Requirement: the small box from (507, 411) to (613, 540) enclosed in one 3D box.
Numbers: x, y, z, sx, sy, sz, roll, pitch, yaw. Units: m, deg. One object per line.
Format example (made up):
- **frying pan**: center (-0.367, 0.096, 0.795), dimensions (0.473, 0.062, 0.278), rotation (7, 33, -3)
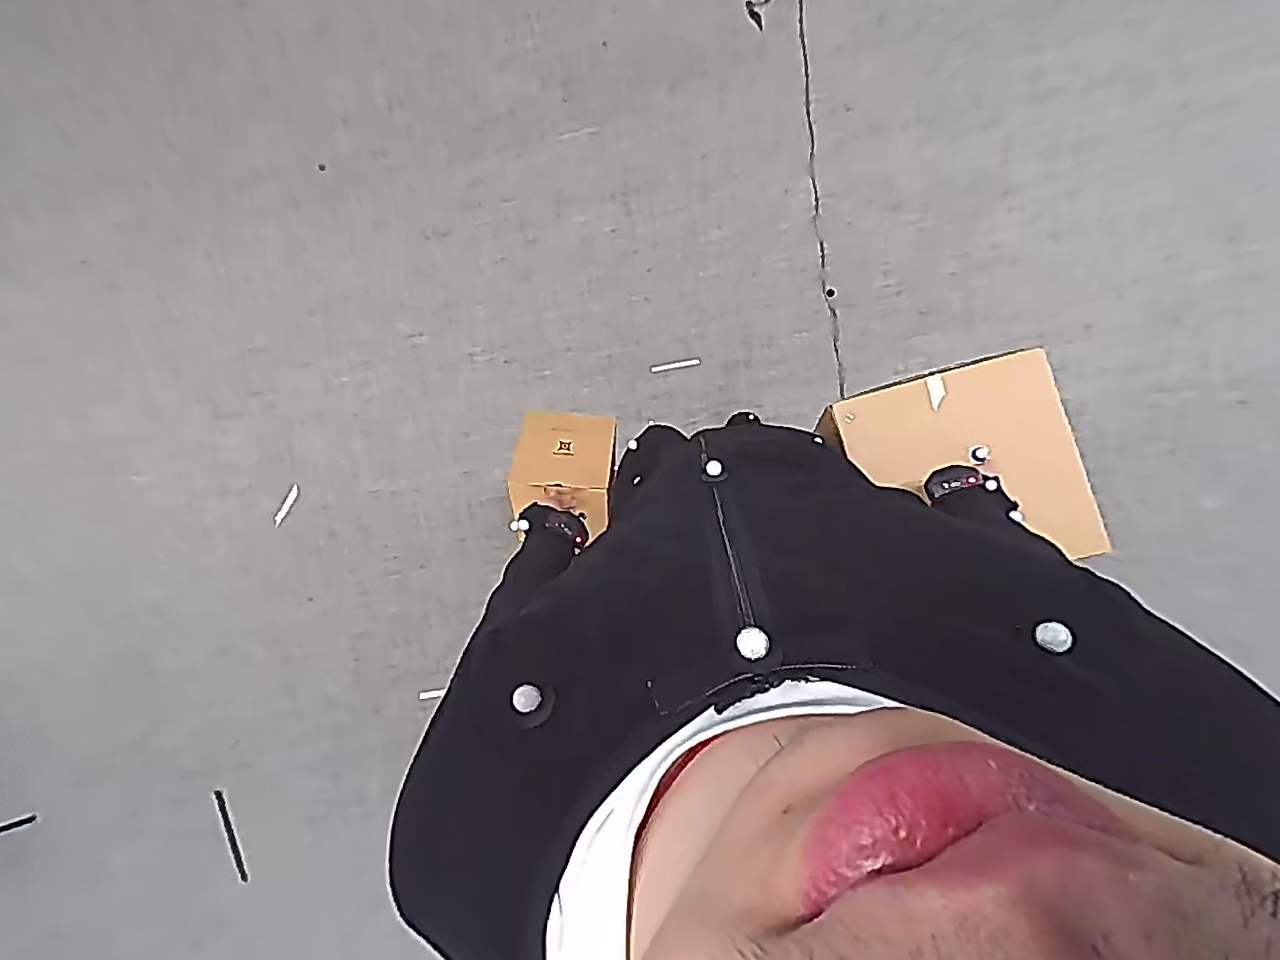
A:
- **small box**: center (-0.137, -0.004, 1.000), dimensions (0.168, 0.179, 0.176), rotation (4, 140, -1)
